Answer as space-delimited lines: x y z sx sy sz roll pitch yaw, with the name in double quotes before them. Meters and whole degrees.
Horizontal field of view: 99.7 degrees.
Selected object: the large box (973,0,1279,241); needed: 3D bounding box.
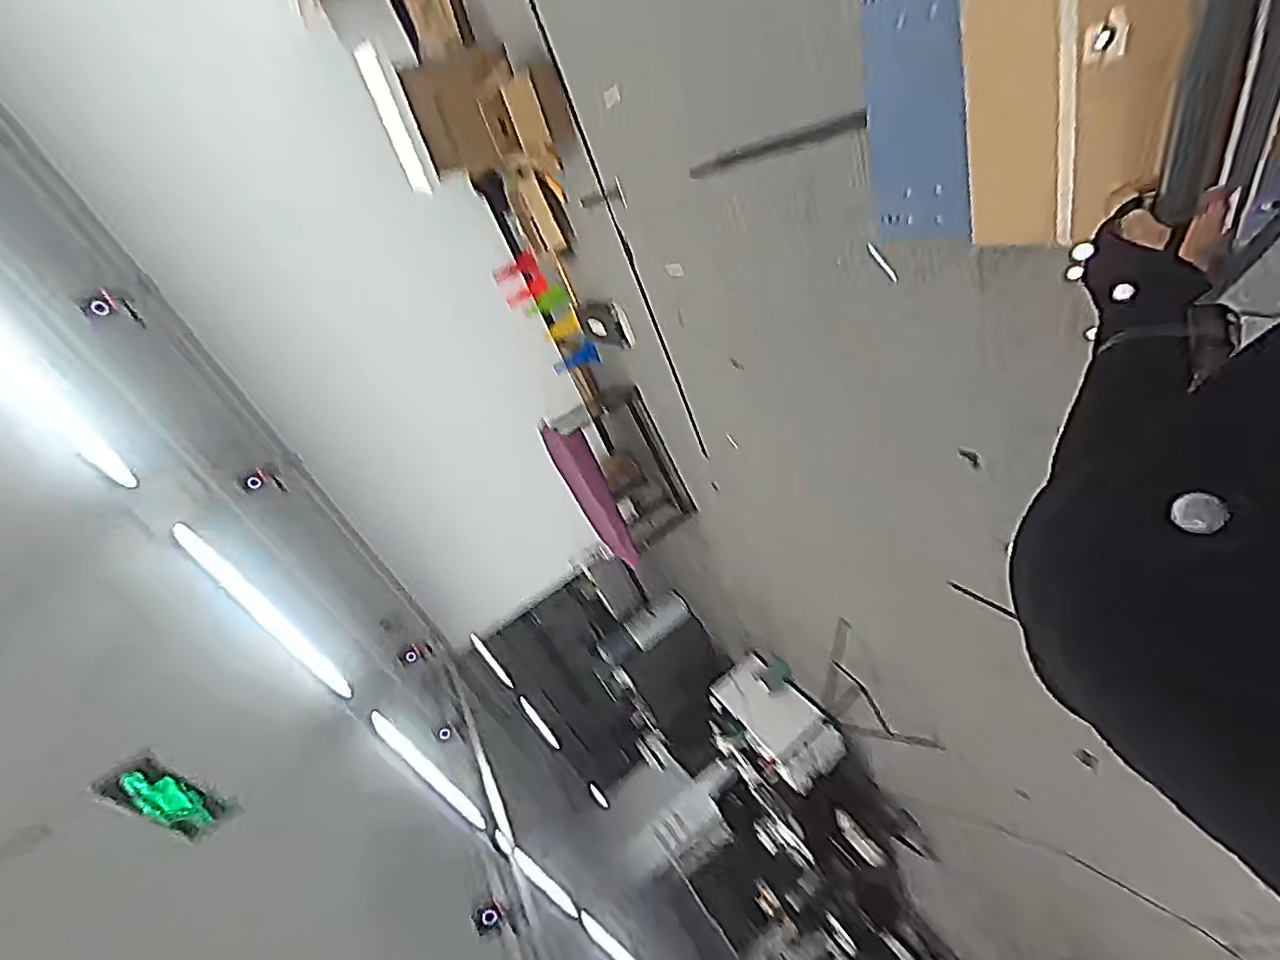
"large box" 0.760 -0.631 0.821 0.320 0.320 0.408 31 149 56
